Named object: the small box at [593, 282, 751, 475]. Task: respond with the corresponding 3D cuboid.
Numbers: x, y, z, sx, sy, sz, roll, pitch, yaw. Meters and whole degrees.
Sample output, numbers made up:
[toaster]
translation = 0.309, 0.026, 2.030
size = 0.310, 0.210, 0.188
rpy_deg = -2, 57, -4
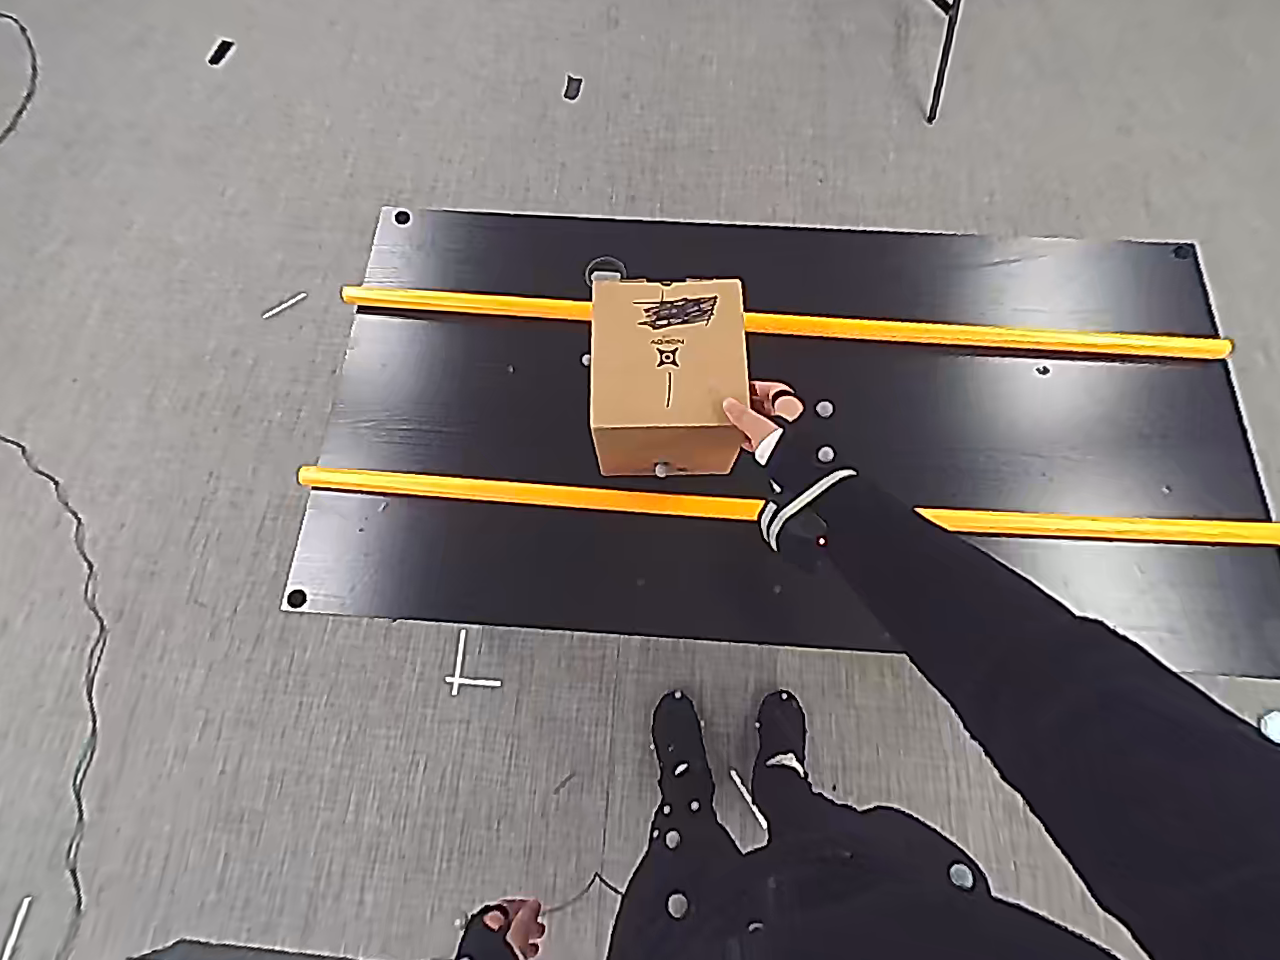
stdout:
[small box]
translation = 0.033, -0.114, 0.654
size = 0.168, 0.176, 0.179
rpy_deg = -1, 74, 1
